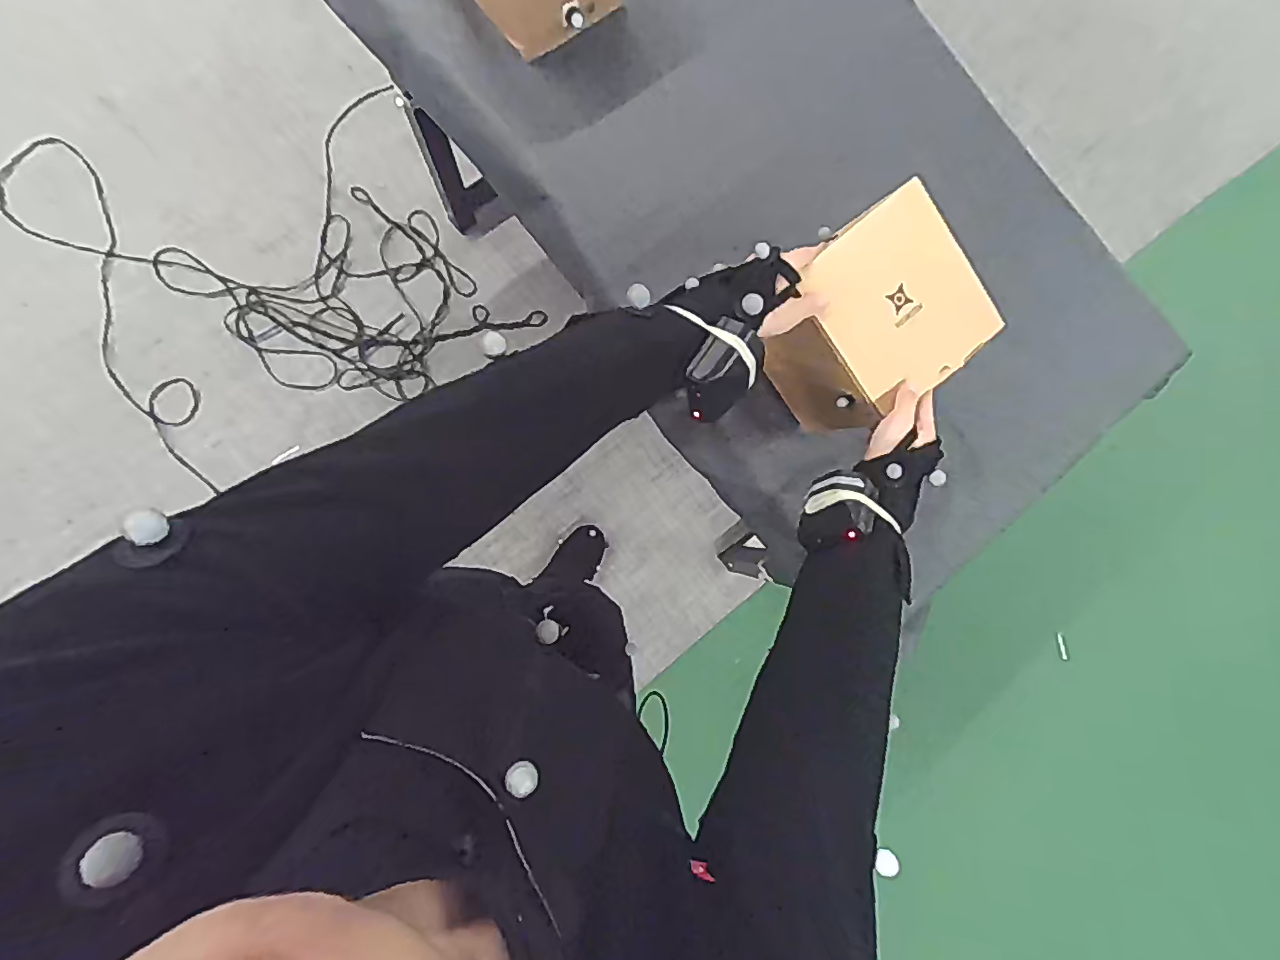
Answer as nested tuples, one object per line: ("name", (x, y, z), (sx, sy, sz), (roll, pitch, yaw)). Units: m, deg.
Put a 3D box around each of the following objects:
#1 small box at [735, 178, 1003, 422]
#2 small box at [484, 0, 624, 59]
("small box", (0.234, -0.175, 0.593), (0.168, 0.176, 0.179), (-40, 101, -6))
("small box", (-0.122, -0.655, 0.625), (0.168, 0.176, 0.179), (-40, 92, -7))
